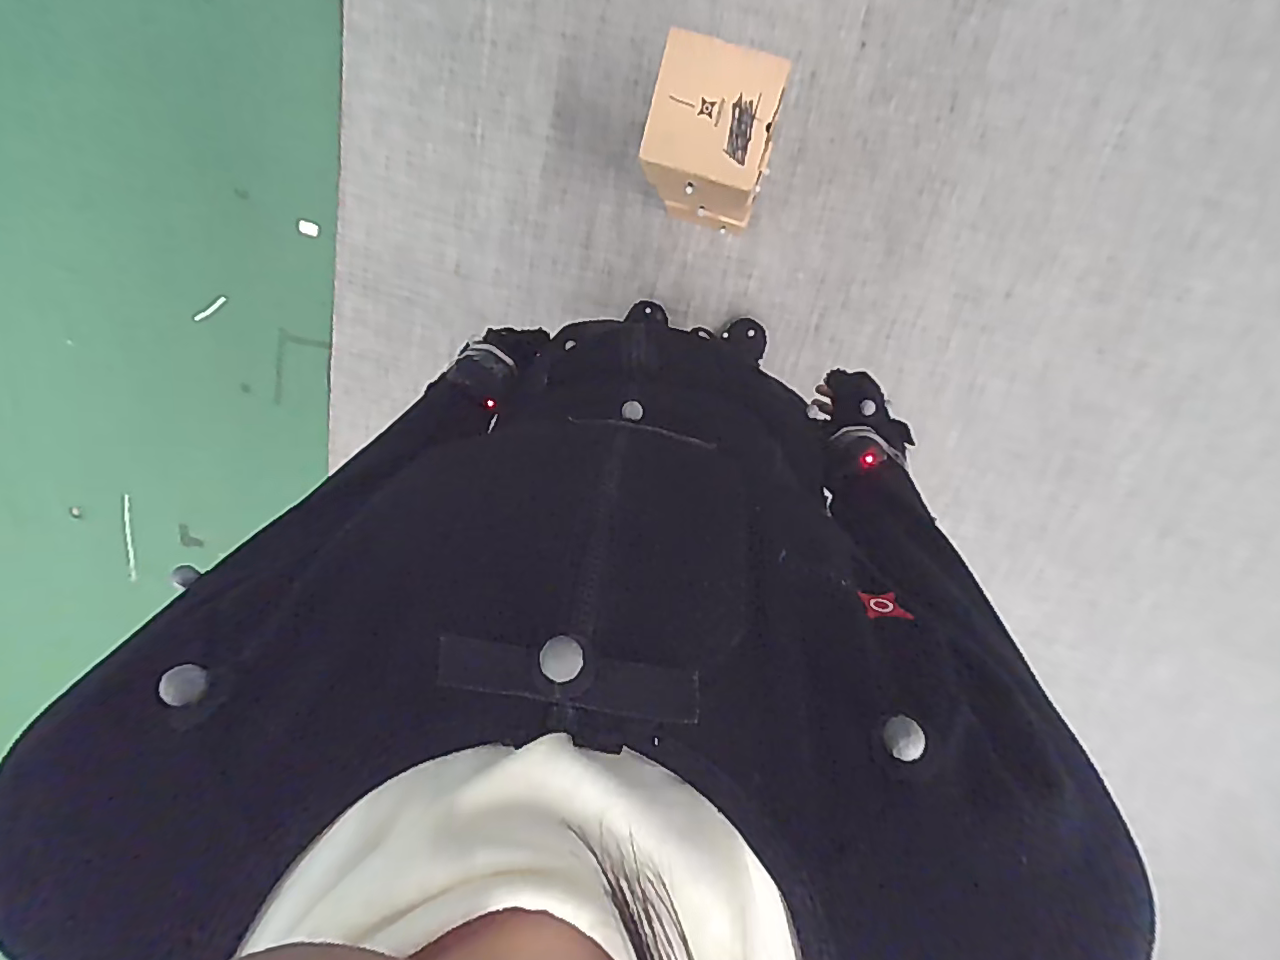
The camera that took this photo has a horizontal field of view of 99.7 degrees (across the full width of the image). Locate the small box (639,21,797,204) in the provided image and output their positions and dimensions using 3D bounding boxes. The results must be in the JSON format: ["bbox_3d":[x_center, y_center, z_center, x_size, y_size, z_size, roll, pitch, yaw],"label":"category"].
[{"bbox_3d":[0.115,-0.545,0.832,0.179,0.176,0.168,21,108,0],"label":"small box"}]

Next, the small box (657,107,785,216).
[{"bbox_3d":[0.143,-0.597,0.989,0.179,0.176,0.168,18,110,1],"label":"small box"}]
